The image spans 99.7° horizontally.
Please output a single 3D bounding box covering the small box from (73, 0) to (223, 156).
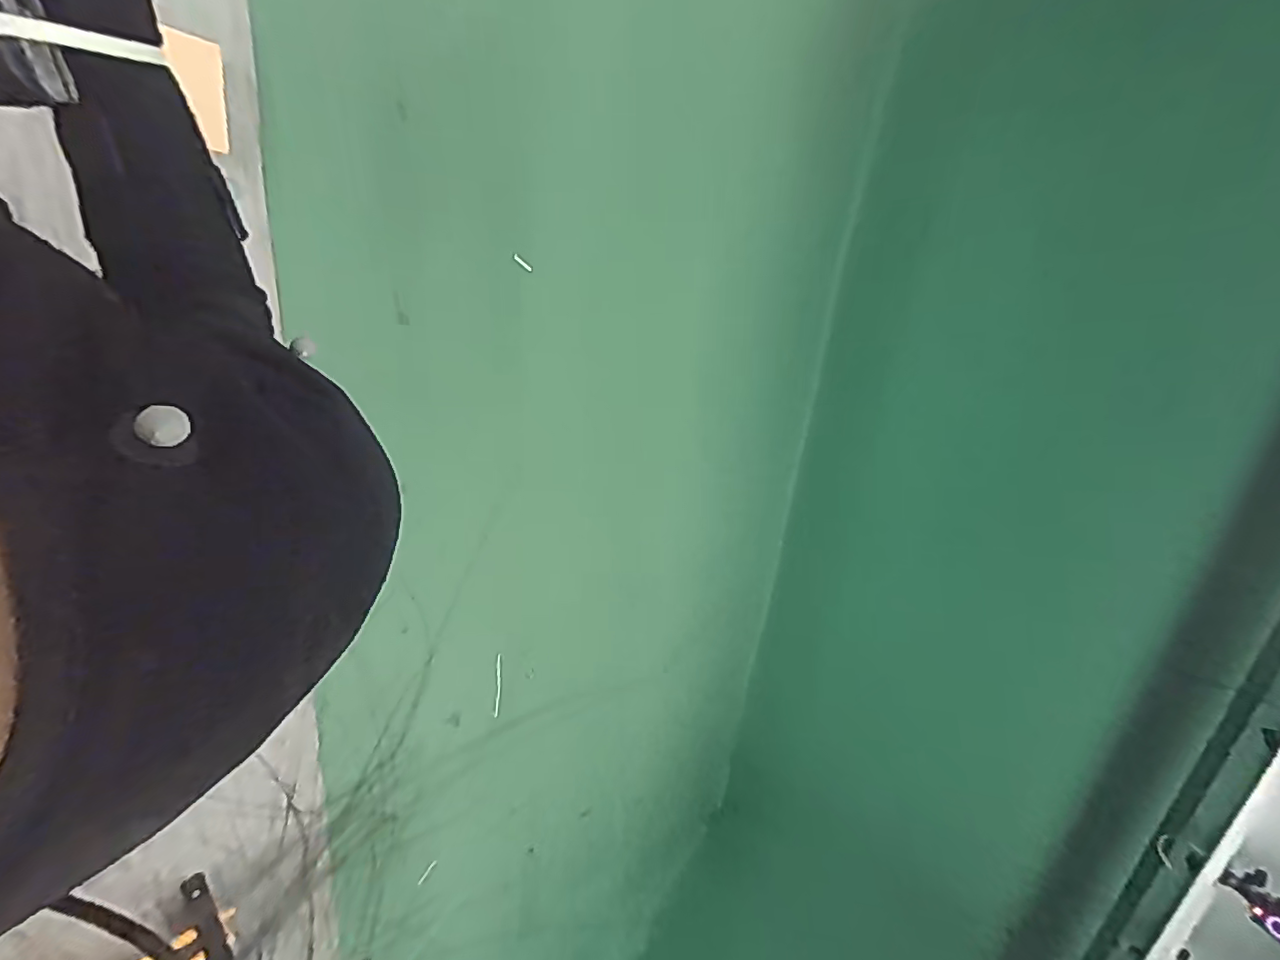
[{"bbox_3d":[-0.869,-0.695,0.960,0.168,0.176,0.179,-14,117,-49],"label":"small box"}]
